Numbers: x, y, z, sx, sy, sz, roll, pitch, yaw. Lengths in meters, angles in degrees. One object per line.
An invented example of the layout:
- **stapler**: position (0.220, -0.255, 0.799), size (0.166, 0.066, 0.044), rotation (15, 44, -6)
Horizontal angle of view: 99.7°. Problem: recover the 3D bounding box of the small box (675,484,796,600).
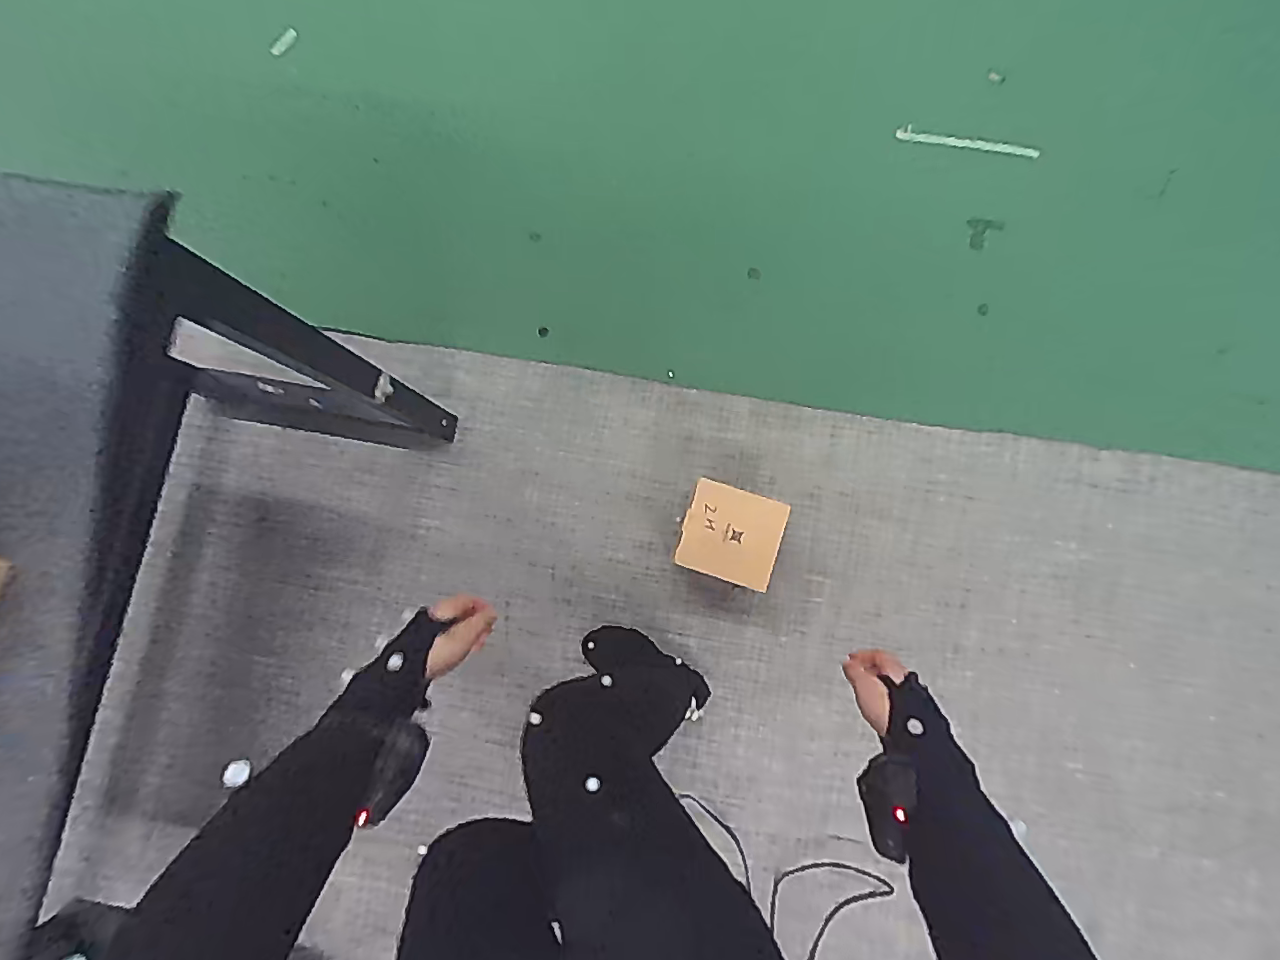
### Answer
- **small box**: position (0.174, 0.117, 1.043), size (0.179, 0.176, 0.168), rotation (18, 84, 4)
